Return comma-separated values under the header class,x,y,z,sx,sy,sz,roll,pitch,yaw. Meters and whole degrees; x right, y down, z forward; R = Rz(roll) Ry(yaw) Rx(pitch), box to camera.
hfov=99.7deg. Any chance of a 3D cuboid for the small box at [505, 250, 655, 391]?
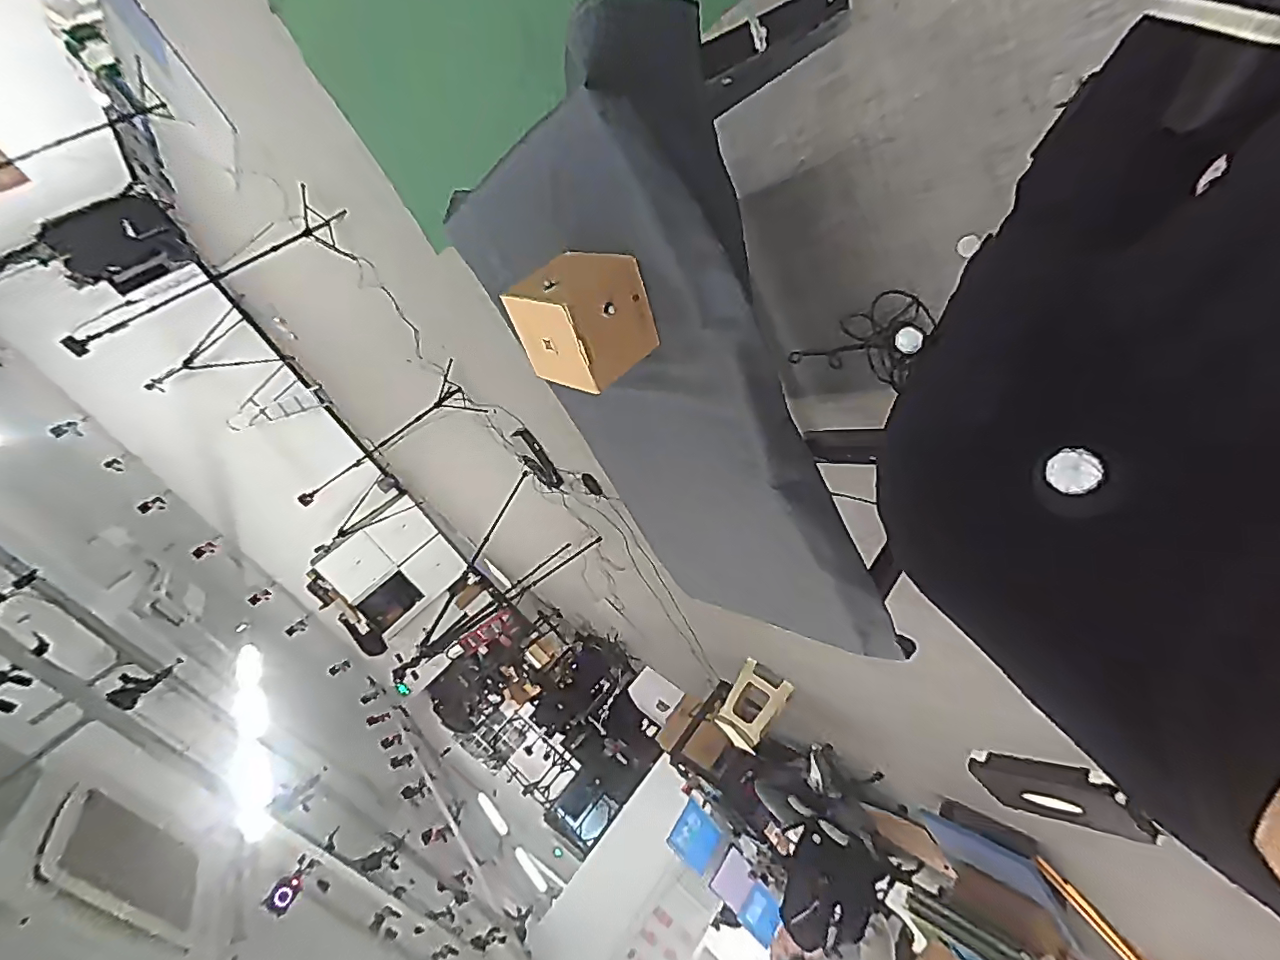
class,x,y,z,sx,sy,sz,roll,pitch,yaw
small box,-0.093,-0.282,0.937,0.179,0.176,0.168,24,146,40
